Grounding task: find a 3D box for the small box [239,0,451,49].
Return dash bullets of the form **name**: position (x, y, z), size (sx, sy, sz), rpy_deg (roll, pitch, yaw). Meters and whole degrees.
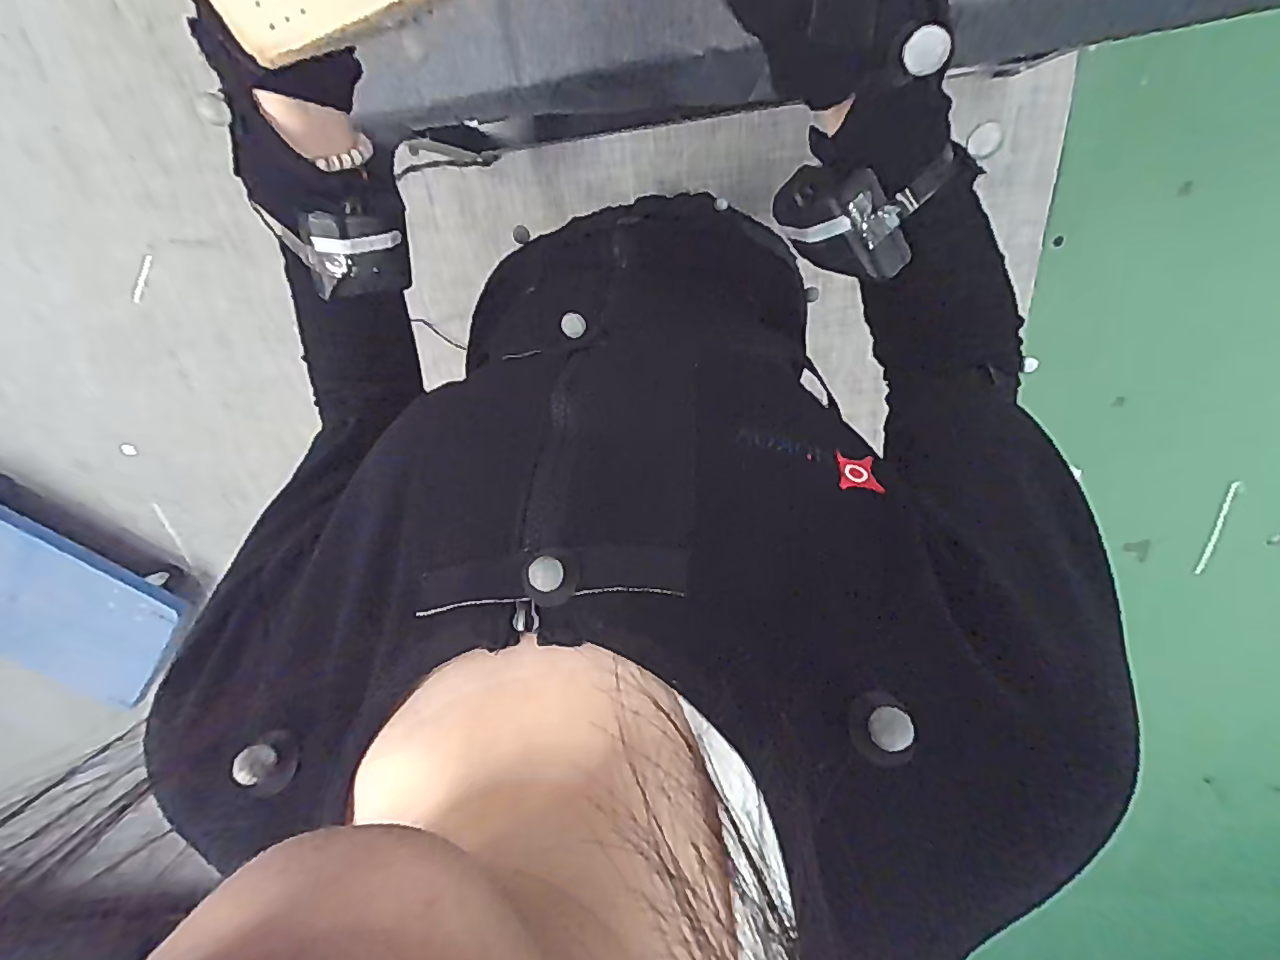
- **small box**: position (-0.093, -0.292, 0.197), size (0.176, 0.179, 0.168), rpy_deg (-19, 132, 8)
